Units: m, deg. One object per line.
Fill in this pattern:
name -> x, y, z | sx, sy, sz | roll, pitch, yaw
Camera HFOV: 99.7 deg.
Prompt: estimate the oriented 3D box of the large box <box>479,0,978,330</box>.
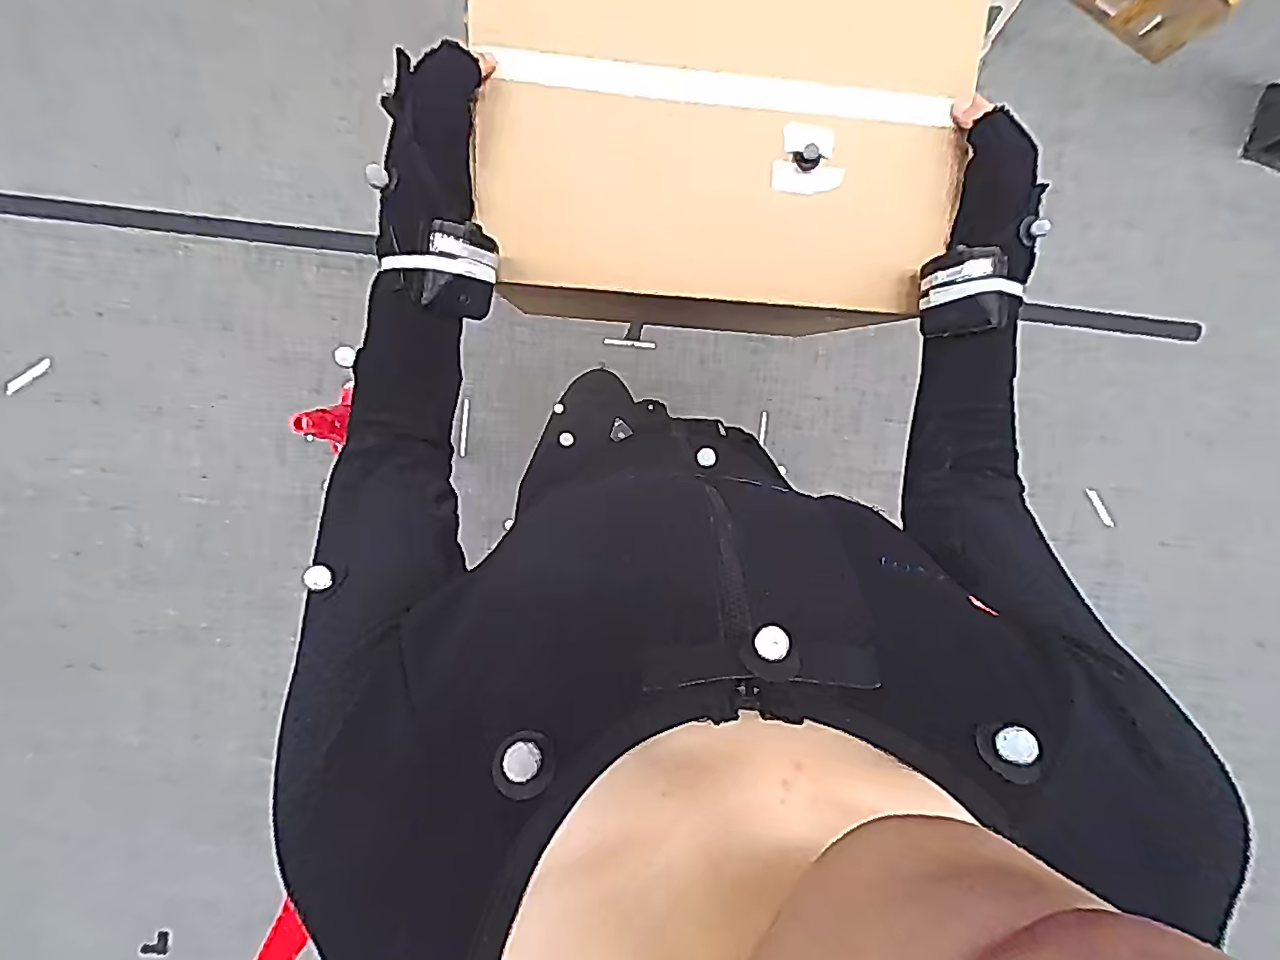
large box -> 0.058, -0.341, 0.582 | 0.408, 0.320, 0.320 | 2, 101, -6
